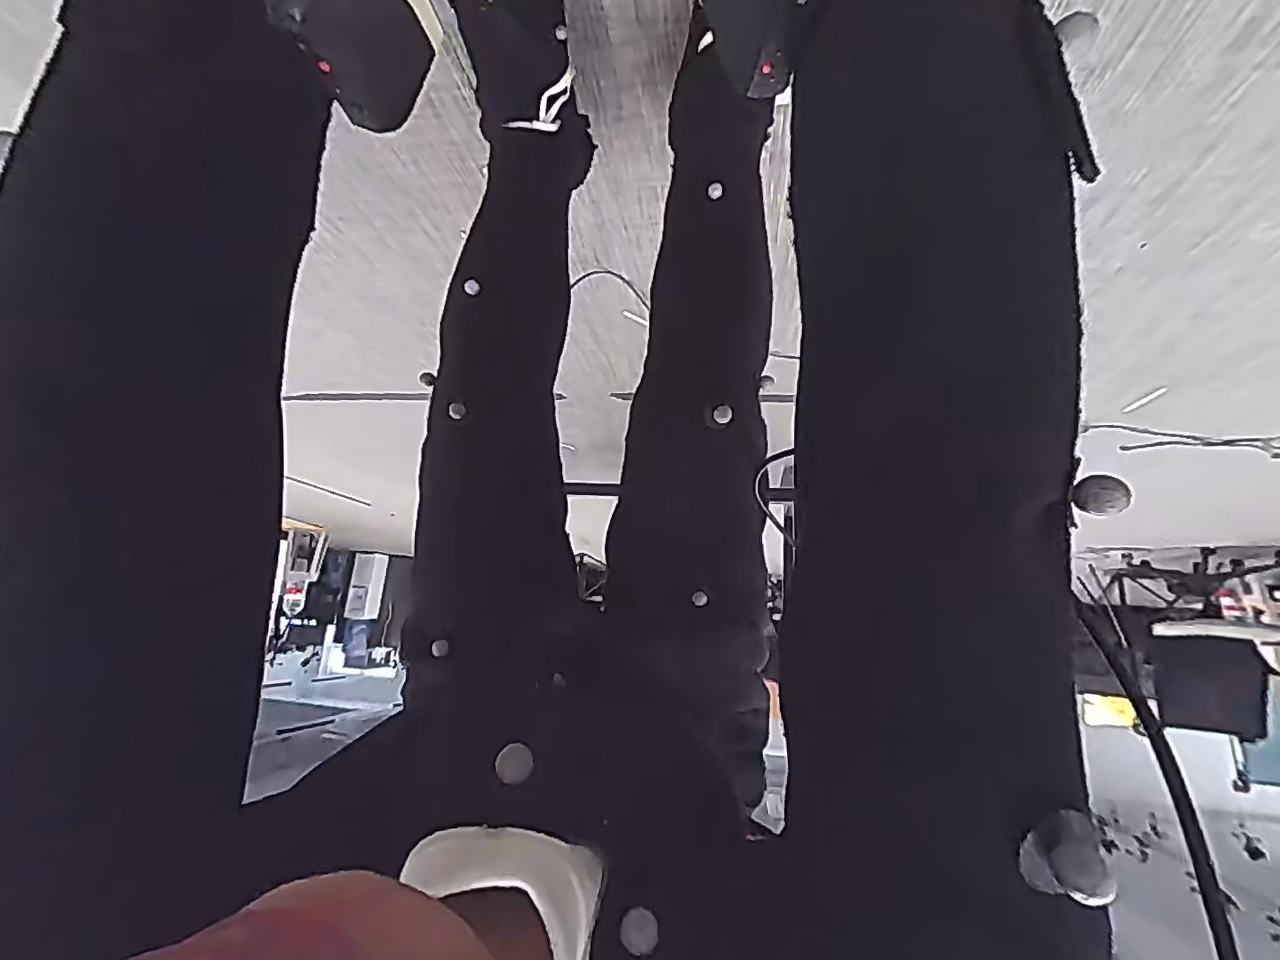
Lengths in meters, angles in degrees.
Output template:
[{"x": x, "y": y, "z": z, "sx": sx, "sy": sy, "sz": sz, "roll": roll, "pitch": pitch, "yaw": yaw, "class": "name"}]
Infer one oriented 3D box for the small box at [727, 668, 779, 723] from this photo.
[{"x": 0.422, "y": 0.799, "z": 2.019, "sx": 0.168, "sy": 0.176, "sz": 0.179, "roll": 3, "pitch": 164, "yaw": 3, "class": "small box"}]
